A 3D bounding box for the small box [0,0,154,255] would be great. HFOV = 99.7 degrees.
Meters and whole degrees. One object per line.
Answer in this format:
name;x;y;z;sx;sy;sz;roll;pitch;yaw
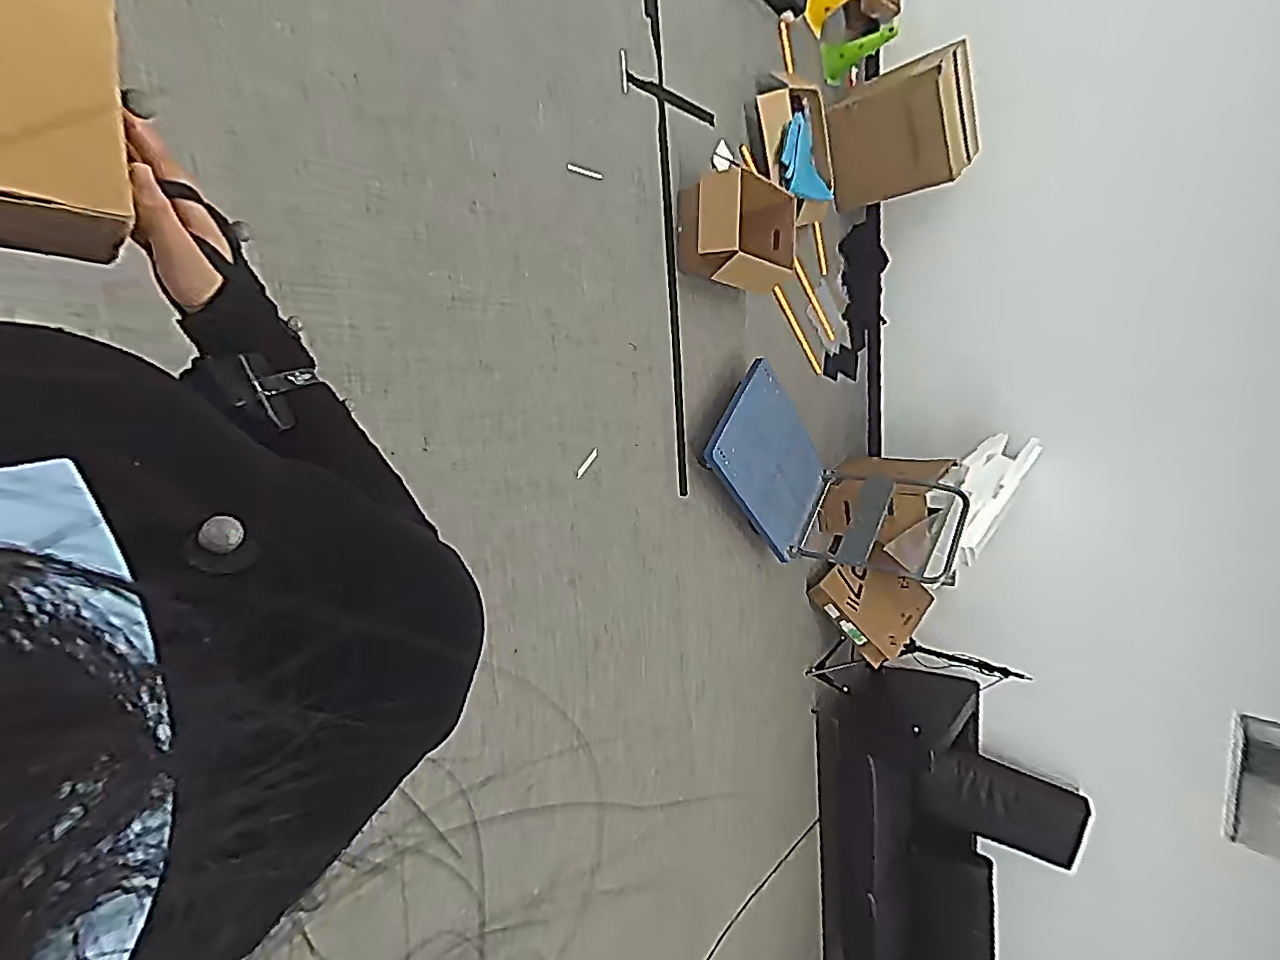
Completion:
small box;-0.392;-0.240;0.295;0.168;0.176;0.179;-6;103;-47
